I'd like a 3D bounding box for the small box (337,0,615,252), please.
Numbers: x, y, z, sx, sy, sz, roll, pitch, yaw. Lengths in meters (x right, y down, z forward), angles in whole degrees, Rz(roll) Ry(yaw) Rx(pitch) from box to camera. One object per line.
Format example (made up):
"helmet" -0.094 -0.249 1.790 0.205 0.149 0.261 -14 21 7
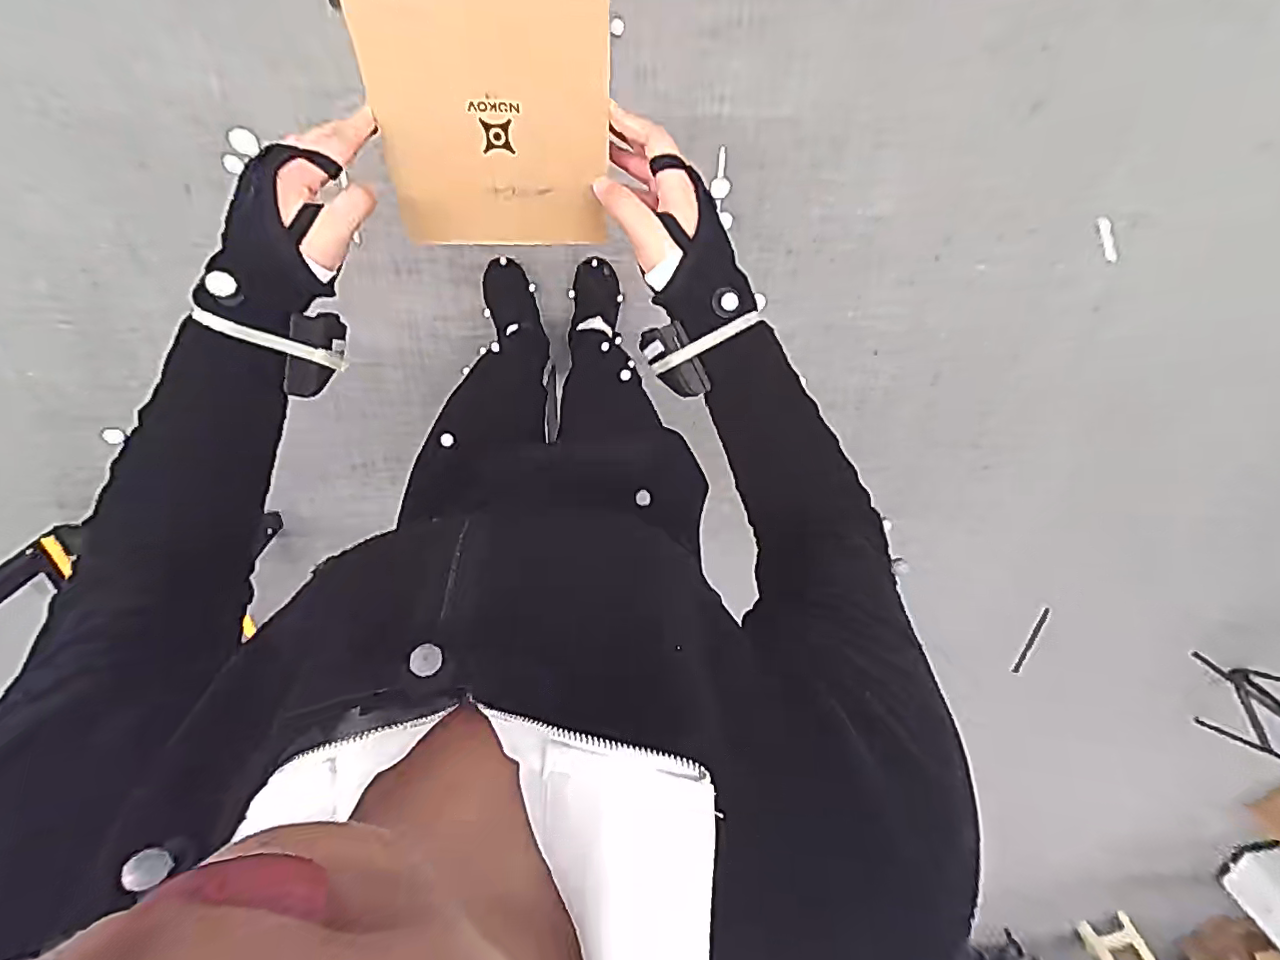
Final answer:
"small box" -0.107 -0.305 0.424 0.168 0.176 0.179 -3 143 -4
